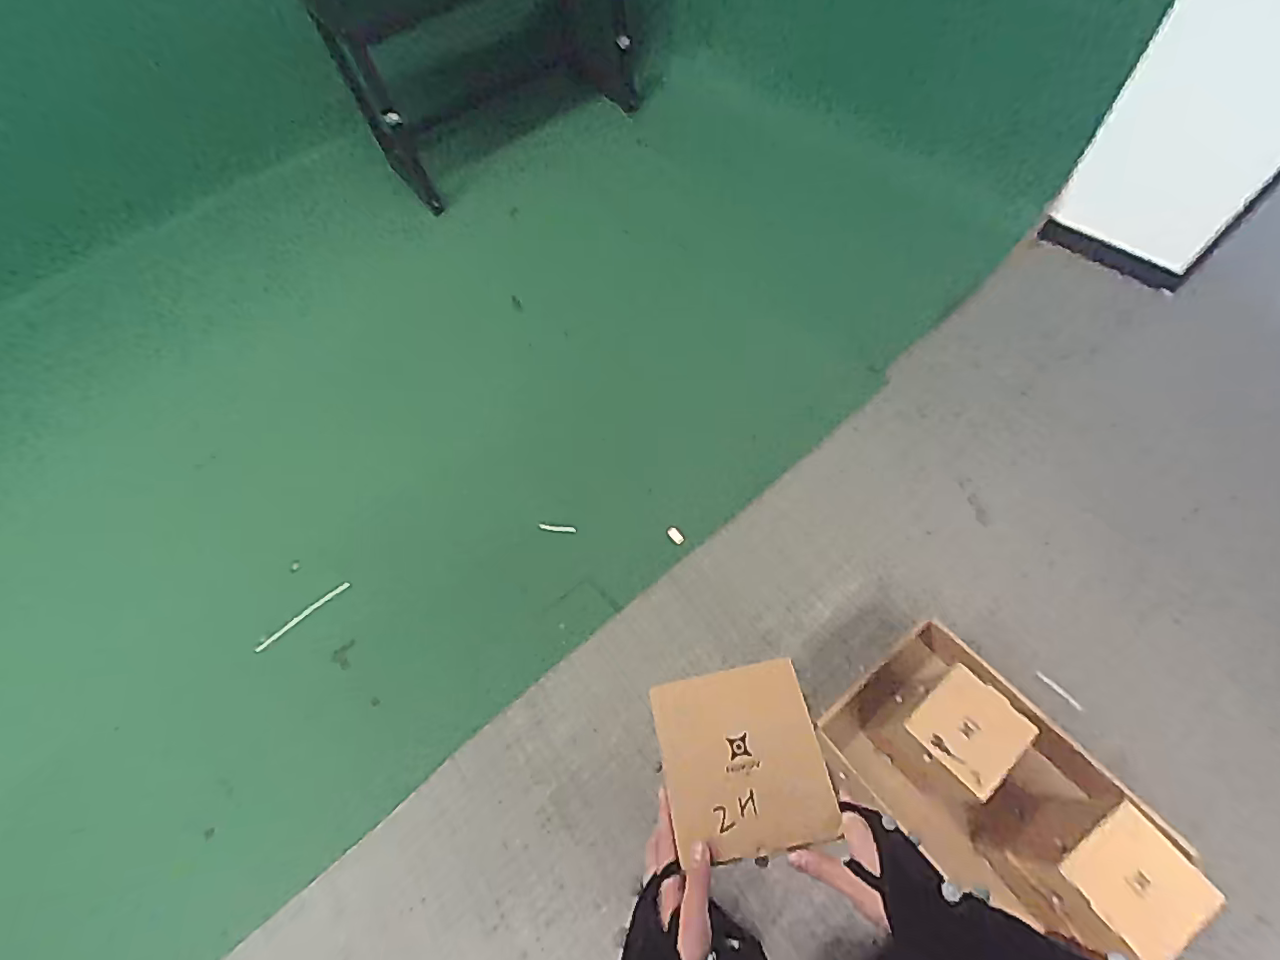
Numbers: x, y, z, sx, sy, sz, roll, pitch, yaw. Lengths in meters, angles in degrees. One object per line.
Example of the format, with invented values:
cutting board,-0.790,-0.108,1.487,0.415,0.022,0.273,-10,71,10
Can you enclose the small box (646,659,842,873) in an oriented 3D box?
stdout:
small box,0.109,0.329,0.627,0.168,0.176,0.179,-13,58,1

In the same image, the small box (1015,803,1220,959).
small box,0.812,0.696,0.944,0.179,0.176,0.168,-34,63,-10

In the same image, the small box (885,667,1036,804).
small box,0.618,0.504,1.069,0.179,0.176,0.168,-38,62,-14
